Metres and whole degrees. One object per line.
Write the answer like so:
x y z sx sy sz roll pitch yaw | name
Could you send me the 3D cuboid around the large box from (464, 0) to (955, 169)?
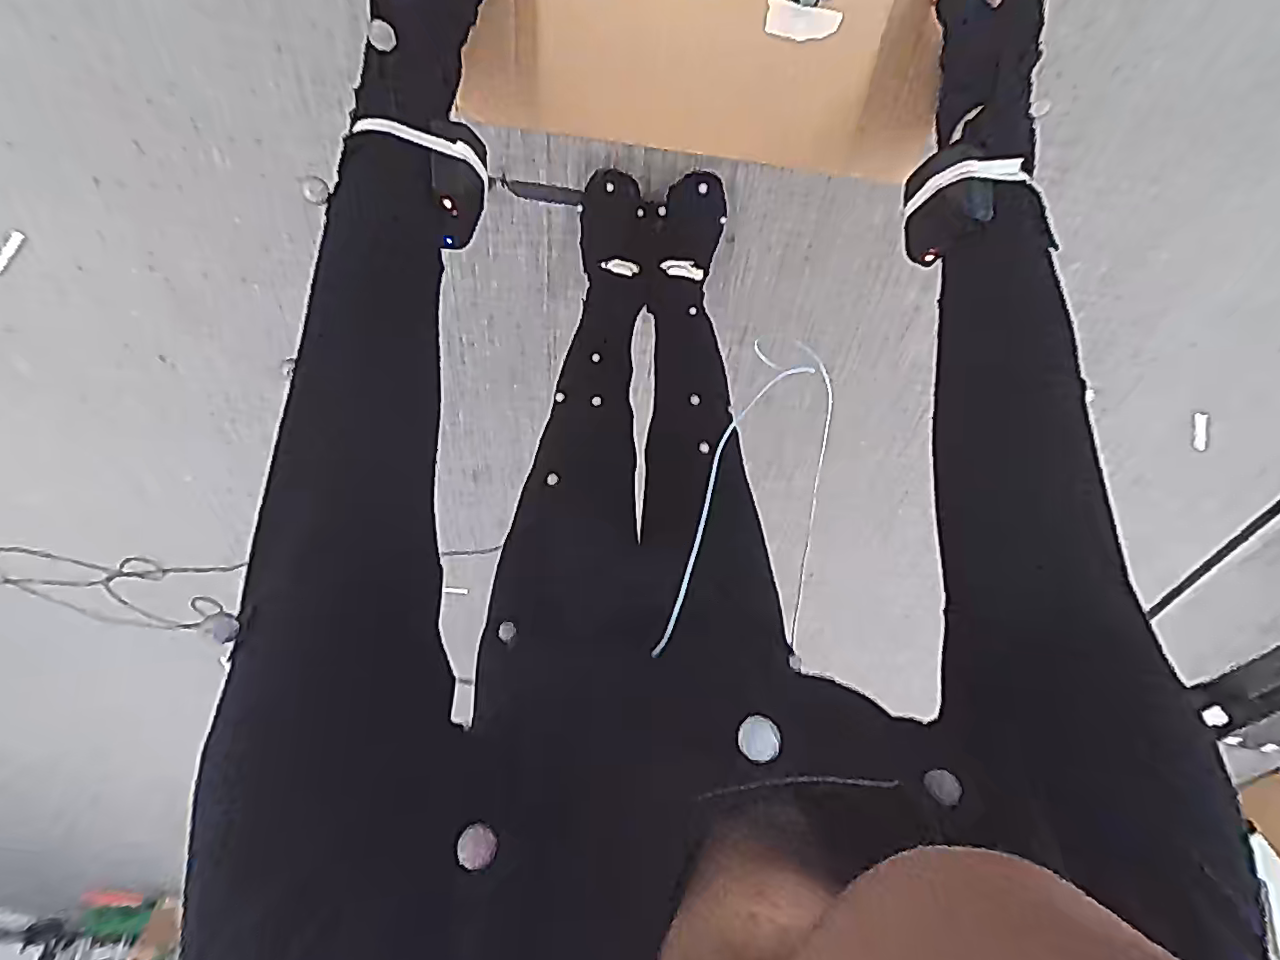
0.056 -0.515 0.522 0.408 0.320 0.320 4 127 -7 | large box
